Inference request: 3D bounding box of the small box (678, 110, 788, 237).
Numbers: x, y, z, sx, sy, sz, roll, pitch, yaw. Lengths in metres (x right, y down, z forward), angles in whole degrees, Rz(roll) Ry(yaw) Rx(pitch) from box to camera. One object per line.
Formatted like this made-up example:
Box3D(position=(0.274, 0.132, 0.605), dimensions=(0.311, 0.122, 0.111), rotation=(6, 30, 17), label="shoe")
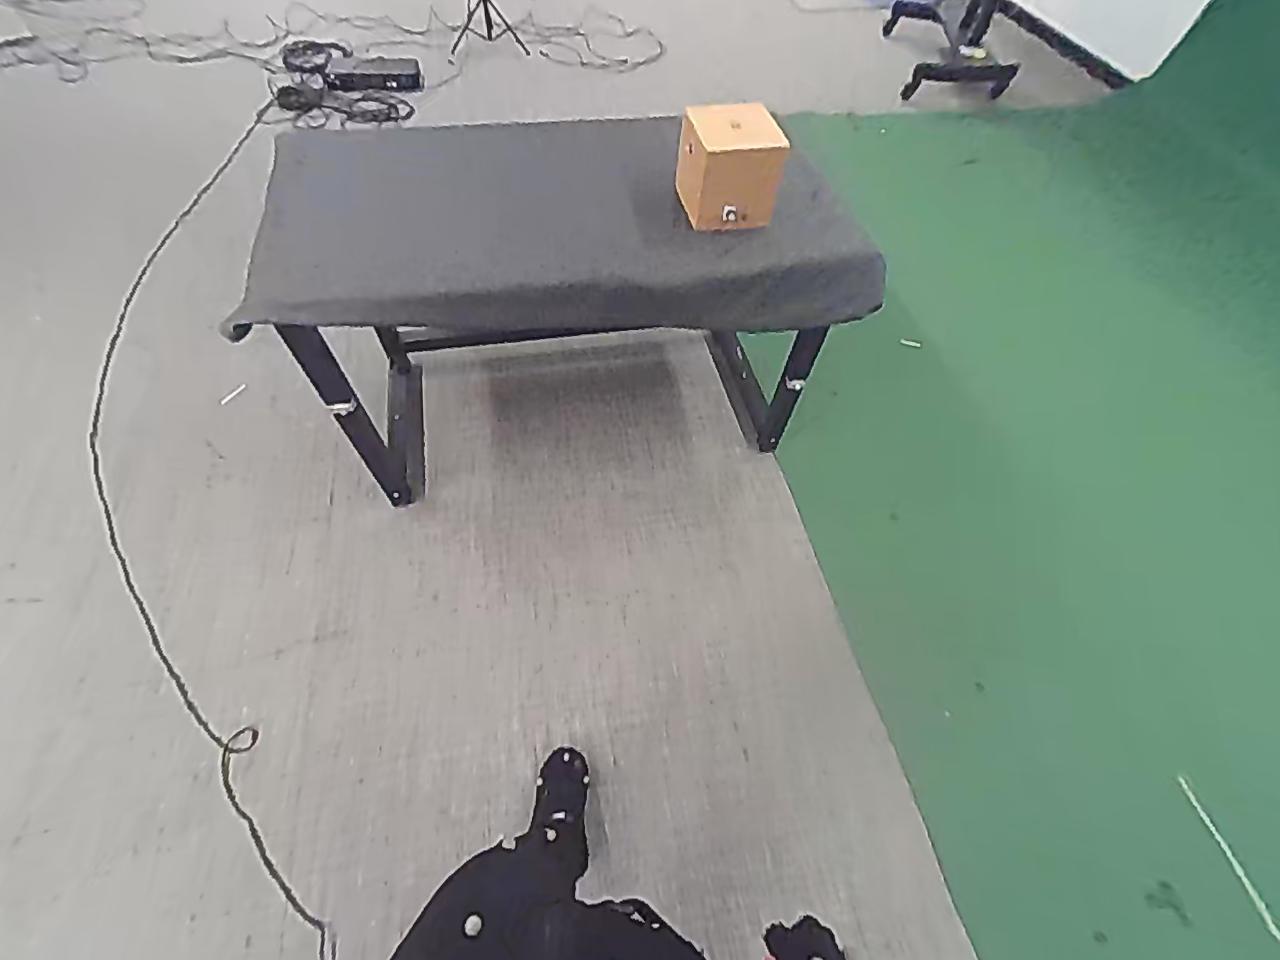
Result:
Box3D(position=(0.181, -0.632, 1.121), dimensions=(0.168, 0.176, 0.179), rotation=(-9, 59, -8), label="small box")
